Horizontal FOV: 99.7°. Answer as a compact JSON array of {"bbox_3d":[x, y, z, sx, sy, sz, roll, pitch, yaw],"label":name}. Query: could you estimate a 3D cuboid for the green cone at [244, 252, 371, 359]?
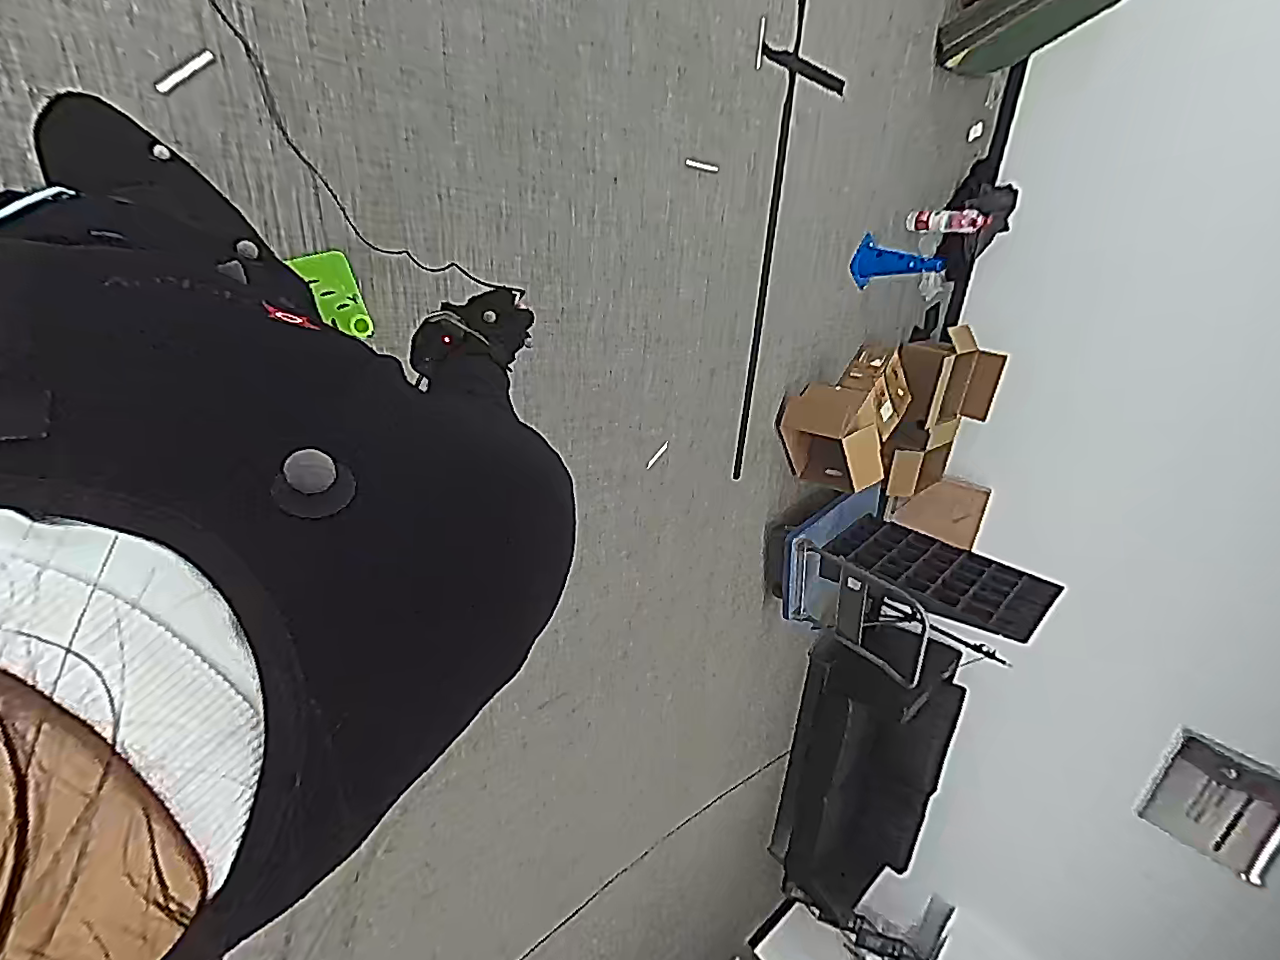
[{"bbox_3d":[-0.623,-0.336,1.089,0.202,0.368,0.200,-30,127,-29],"label":"green cone"}]
